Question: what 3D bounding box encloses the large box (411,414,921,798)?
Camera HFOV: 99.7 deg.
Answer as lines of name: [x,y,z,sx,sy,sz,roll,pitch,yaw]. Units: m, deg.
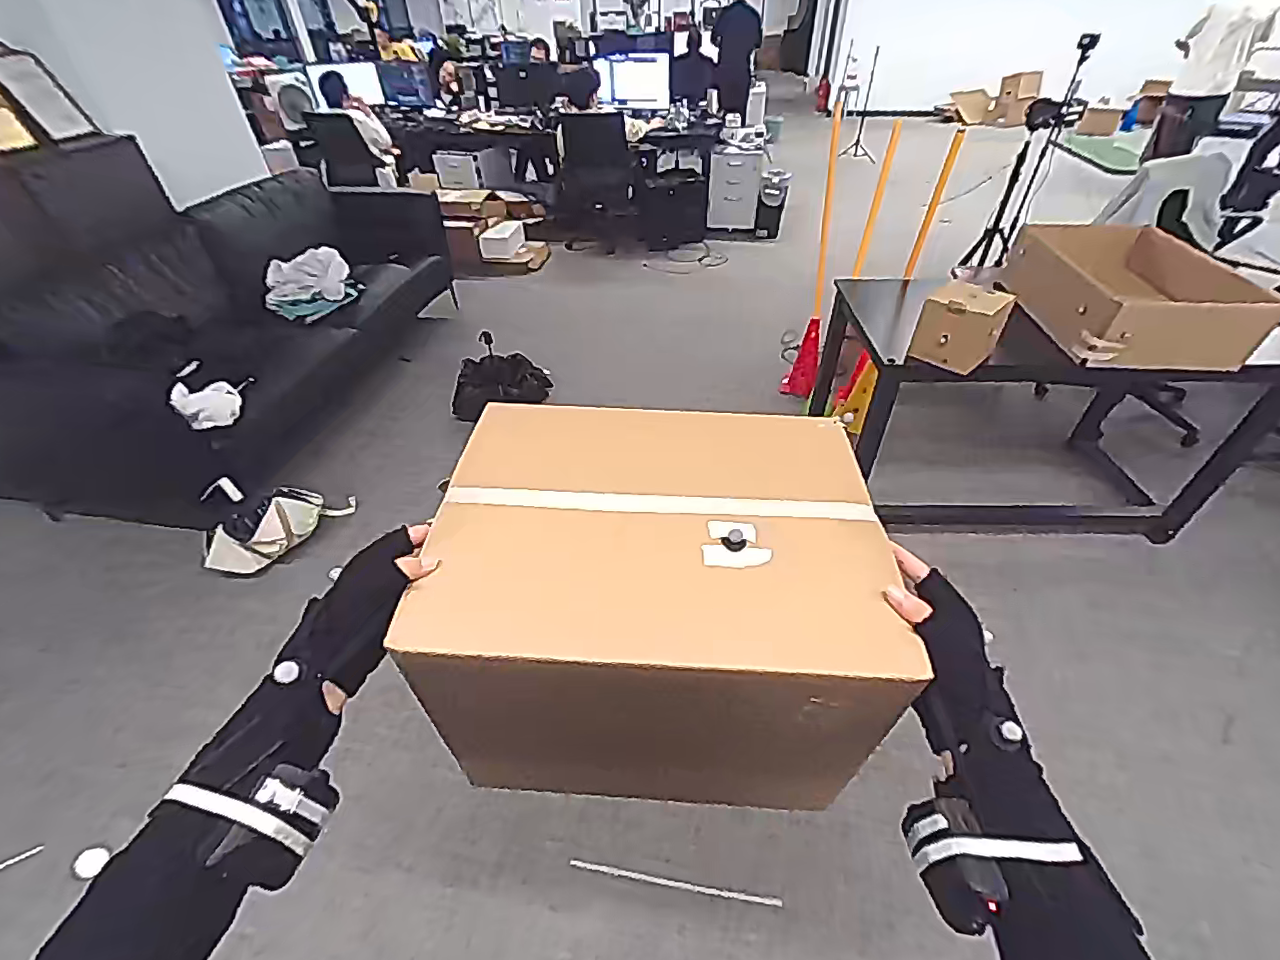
large box: [0.019,0.142,0.622,0.408,0.320,0.320,3,44,1]
